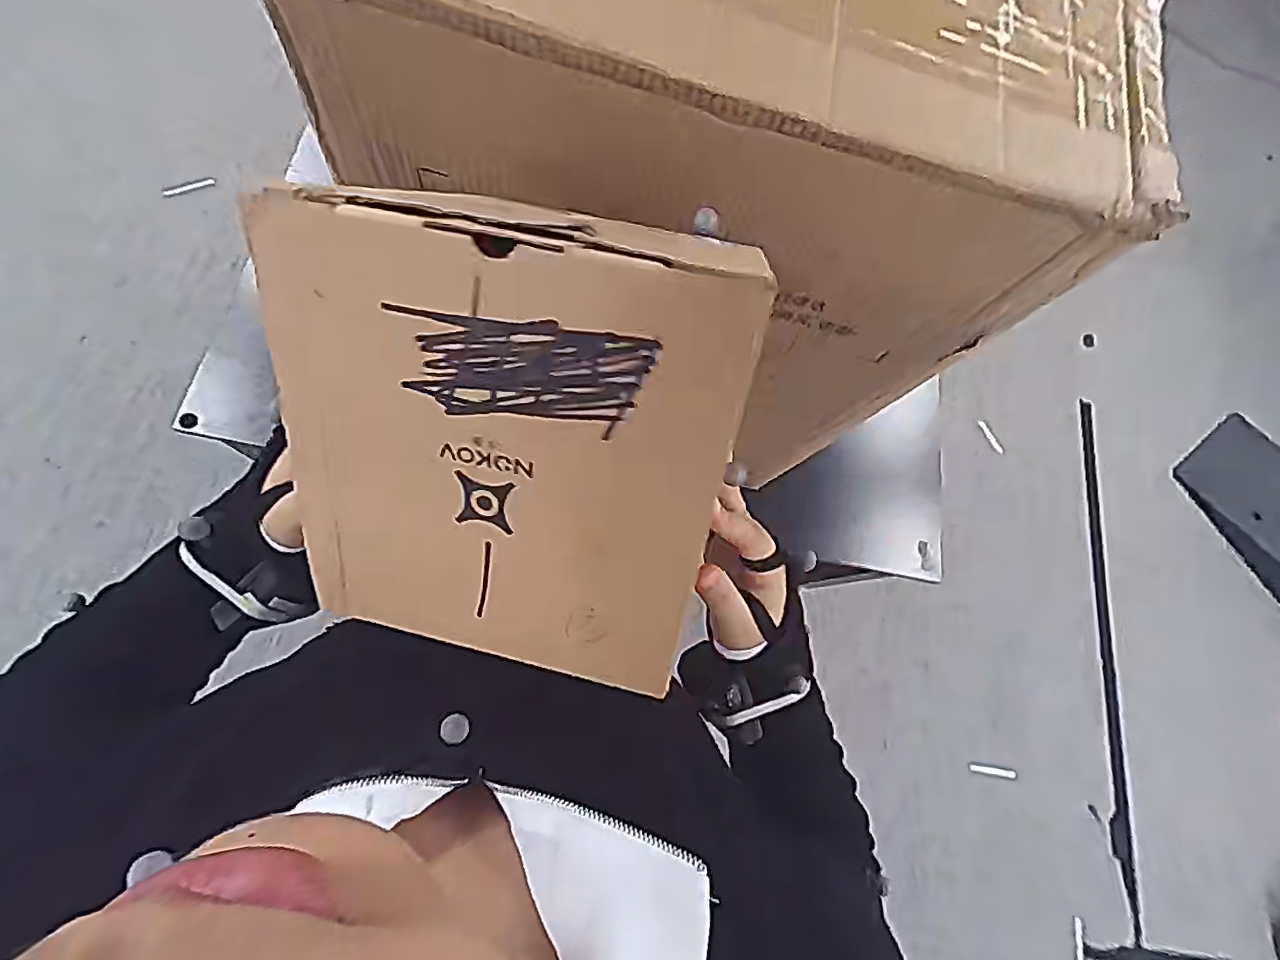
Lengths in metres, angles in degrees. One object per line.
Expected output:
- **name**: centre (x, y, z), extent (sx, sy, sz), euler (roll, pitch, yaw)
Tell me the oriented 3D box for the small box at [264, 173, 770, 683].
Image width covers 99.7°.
- **small box**: centre (-0.039, -0.039, 0.274), extent (0.168, 0.176, 0.179), euler (12, 117, 6)
